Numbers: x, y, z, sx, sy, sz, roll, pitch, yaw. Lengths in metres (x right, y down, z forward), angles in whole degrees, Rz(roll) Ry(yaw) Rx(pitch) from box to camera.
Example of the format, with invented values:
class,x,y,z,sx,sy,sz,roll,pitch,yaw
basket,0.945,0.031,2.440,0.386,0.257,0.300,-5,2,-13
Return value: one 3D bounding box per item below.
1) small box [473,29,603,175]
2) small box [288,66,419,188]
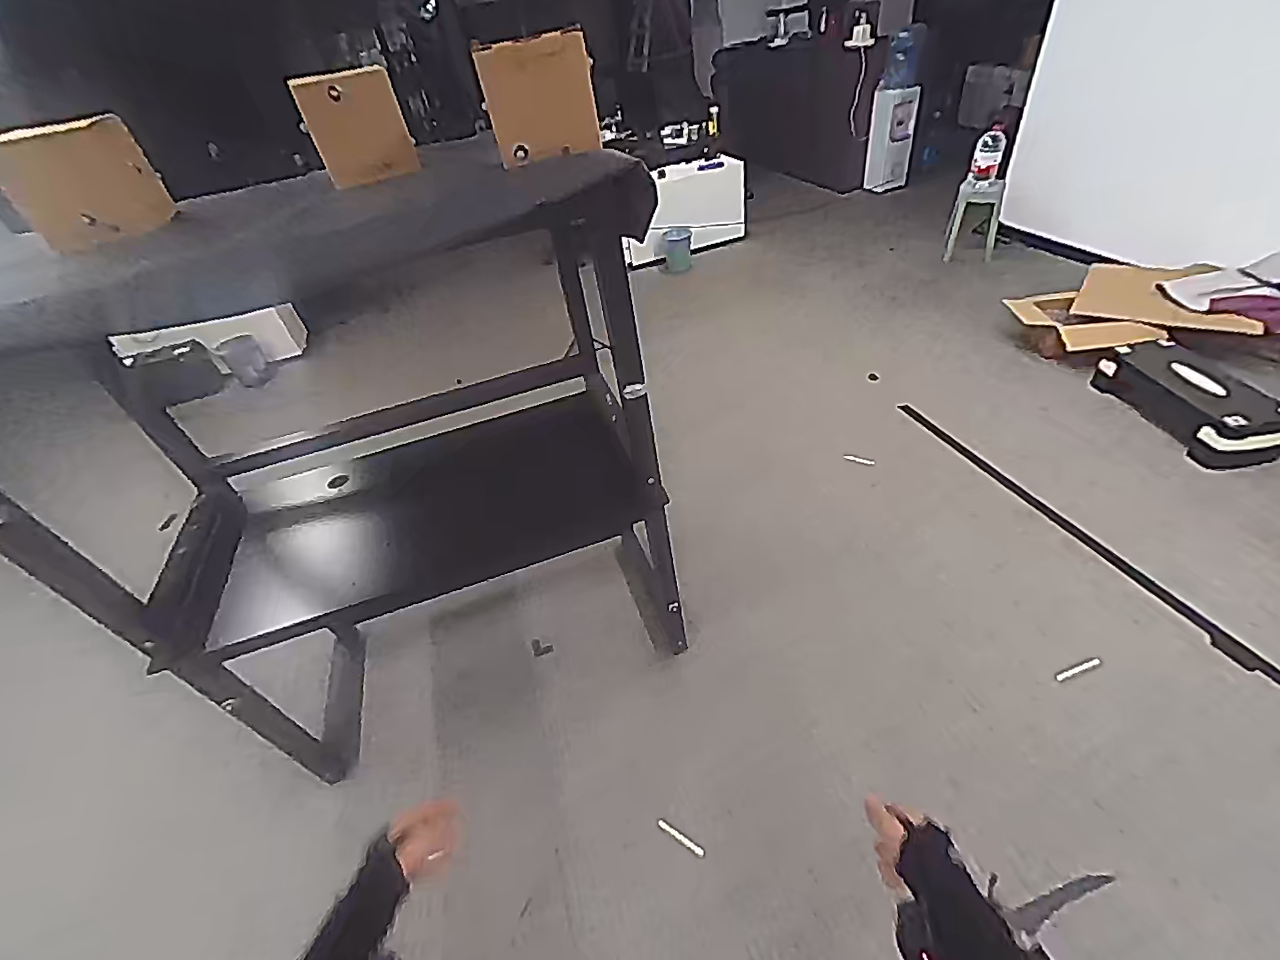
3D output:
class,x,y,z,sx,sy,sz,roll,pitch,yaw
small box,-0.162,-0.622,0.896,0.168,0.176,0.179,-12,39,-2
small box,-0.553,-0.685,1.051,0.168,0.176,0.179,-25,43,-15
